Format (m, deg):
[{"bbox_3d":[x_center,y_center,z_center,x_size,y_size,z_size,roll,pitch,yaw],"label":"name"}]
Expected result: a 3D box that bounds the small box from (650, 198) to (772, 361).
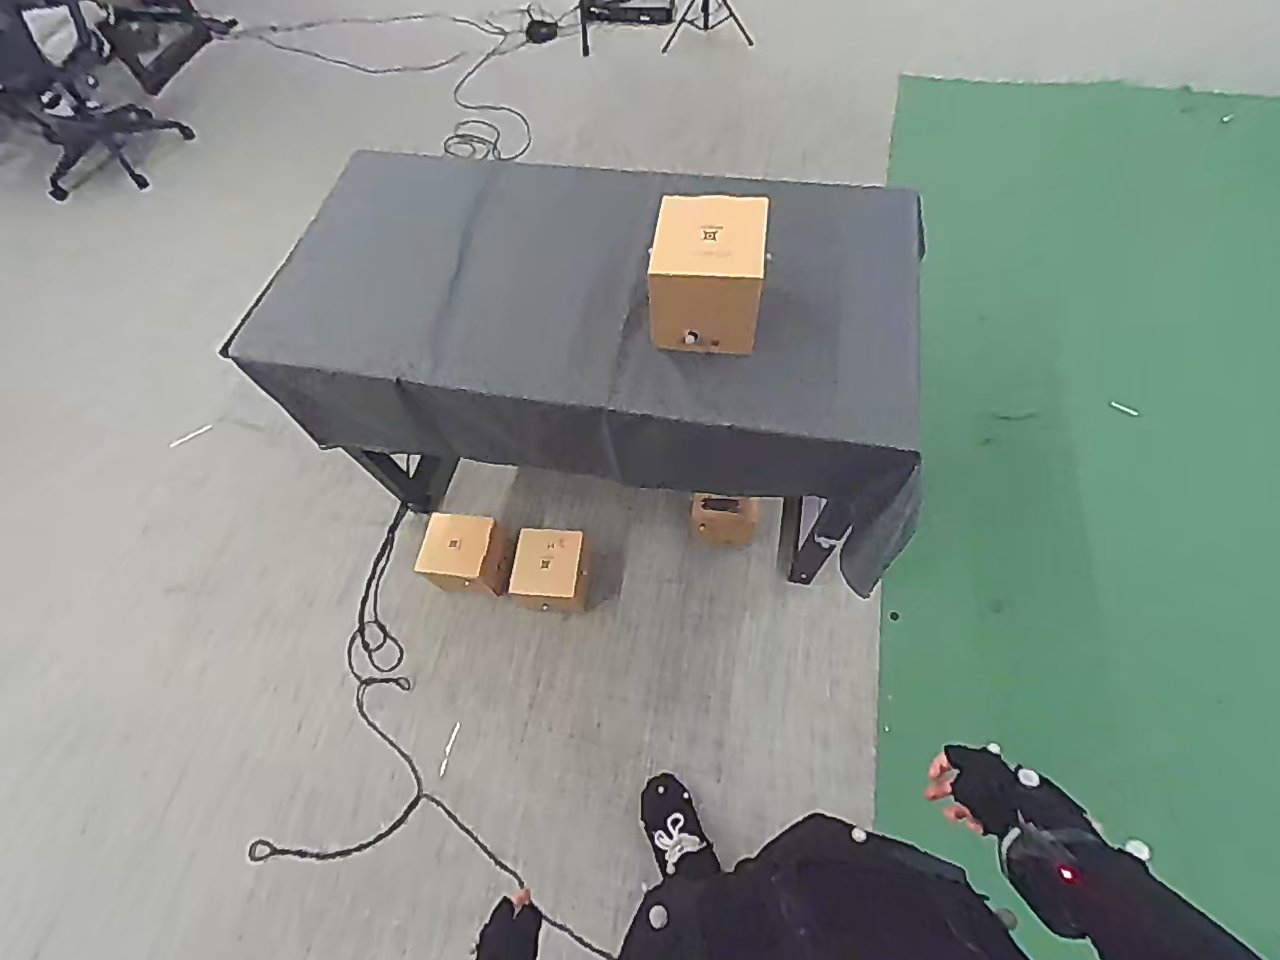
[{"bbox_3d":[0.112,-0.318,0.864,0.168,0.176,0.179,6,63,9],"label":"small box"}]
